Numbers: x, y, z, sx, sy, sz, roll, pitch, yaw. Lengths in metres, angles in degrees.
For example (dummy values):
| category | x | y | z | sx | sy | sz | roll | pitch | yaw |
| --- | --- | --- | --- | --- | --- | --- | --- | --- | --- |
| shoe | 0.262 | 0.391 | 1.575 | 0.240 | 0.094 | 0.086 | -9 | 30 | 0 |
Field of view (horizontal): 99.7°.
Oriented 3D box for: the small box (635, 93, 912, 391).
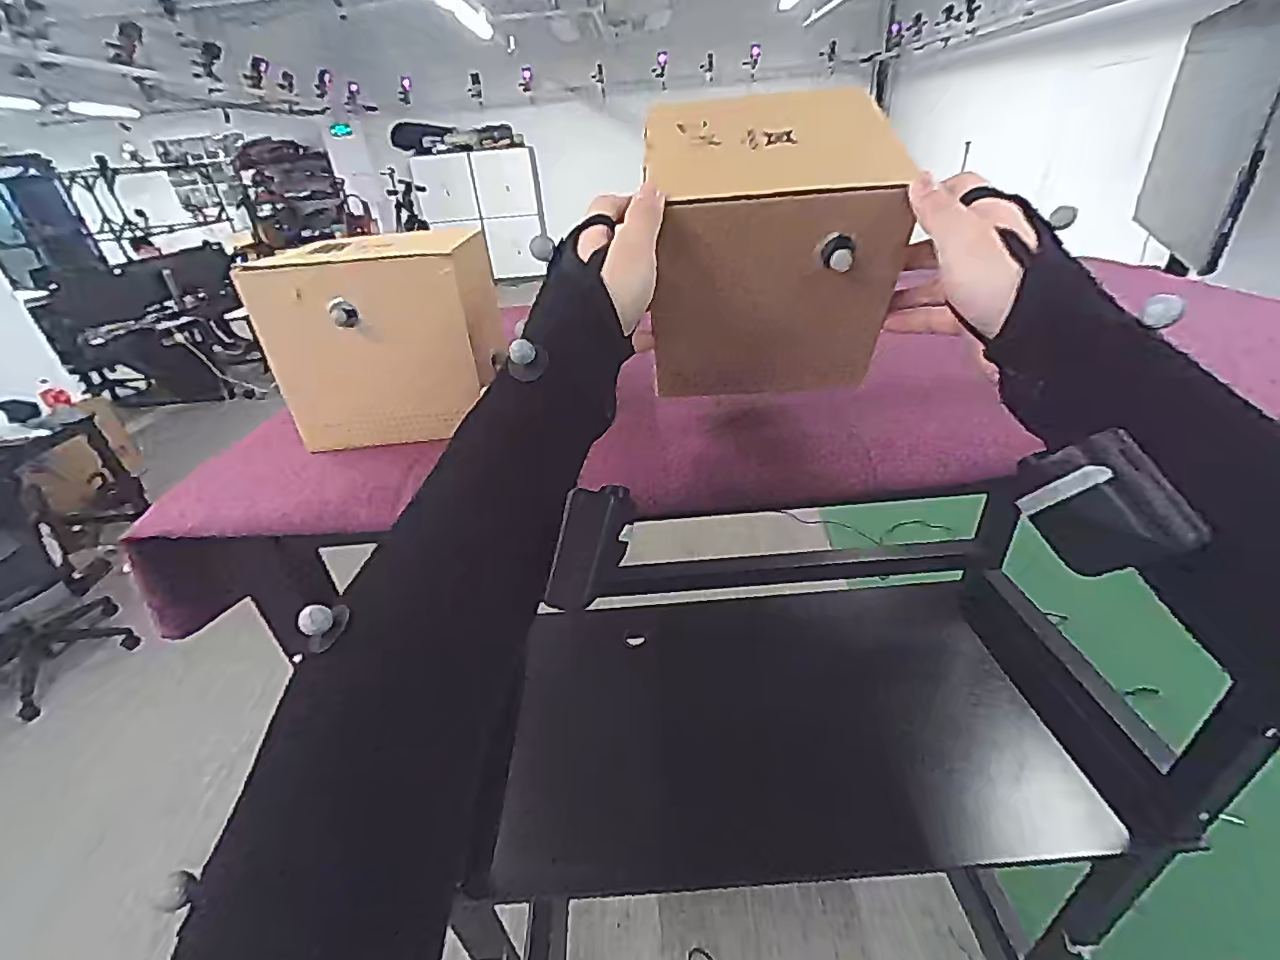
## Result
| category | x | y | z | sx | sy | sz | roll | pitch | yaw |
| --- | --- | --- | --- | --- | --- | --- | --- | --- | --- |
| small box | 0.093 | -0.190 | 0.451 | 0.179 | 0.176 | 0.168 | -2 | 51 | 5 |

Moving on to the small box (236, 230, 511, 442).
| category | x | y | z | sx | sy | sz | roll | pitch | yaw |
| --- | --- | --- | --- | --- | --- | --- | --- | --- | --- |
| small box | -0.241 | -0.147 | 0.545 | 0.179 | 0.176 | 0.168 | -5 | 31 | -2 |
